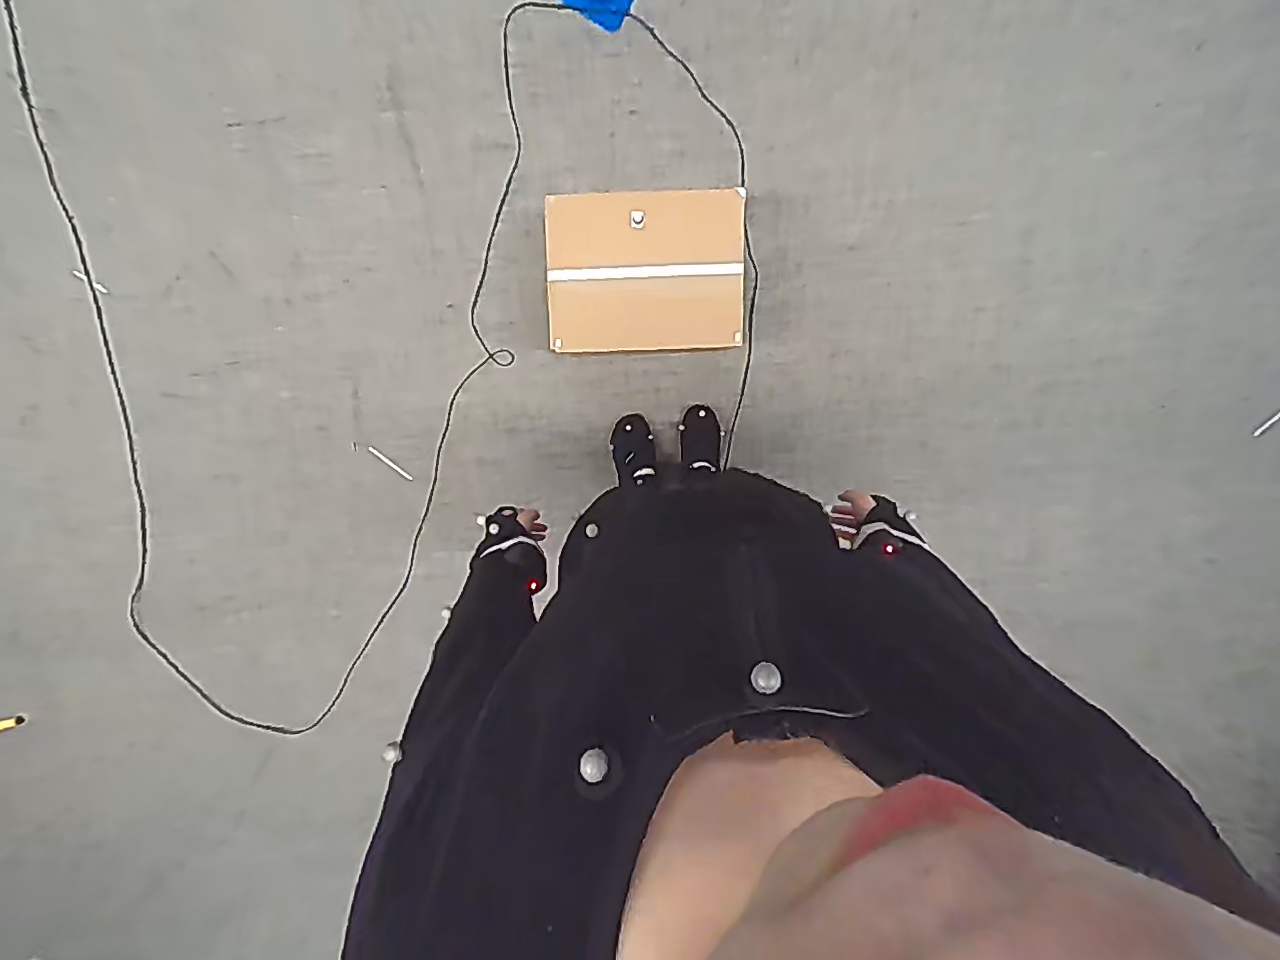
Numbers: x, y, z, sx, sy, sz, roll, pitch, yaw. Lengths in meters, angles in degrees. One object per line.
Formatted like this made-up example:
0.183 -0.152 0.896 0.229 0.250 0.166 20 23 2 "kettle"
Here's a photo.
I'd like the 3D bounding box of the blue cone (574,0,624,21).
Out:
-0.093 -1.166 1.087 0.192 0.380 0.193 28 98 -6 "blue cone"
